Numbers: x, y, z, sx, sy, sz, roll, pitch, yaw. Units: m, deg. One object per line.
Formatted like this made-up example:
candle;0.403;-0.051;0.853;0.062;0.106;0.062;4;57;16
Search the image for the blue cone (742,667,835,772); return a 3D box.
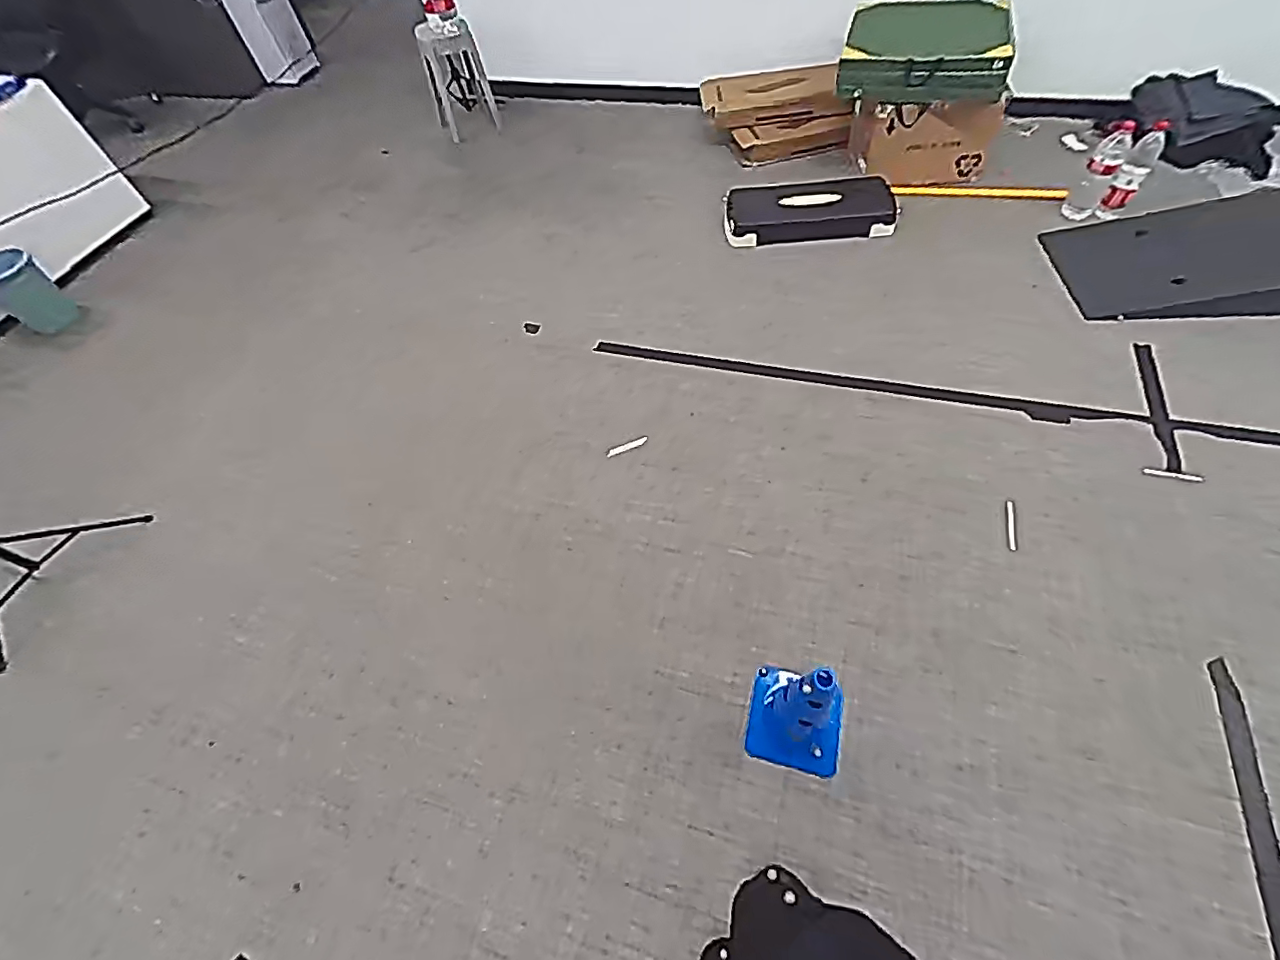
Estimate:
blue cone;0.318;0.445;1.081;0.192;0.380;0.193;11;58;15
